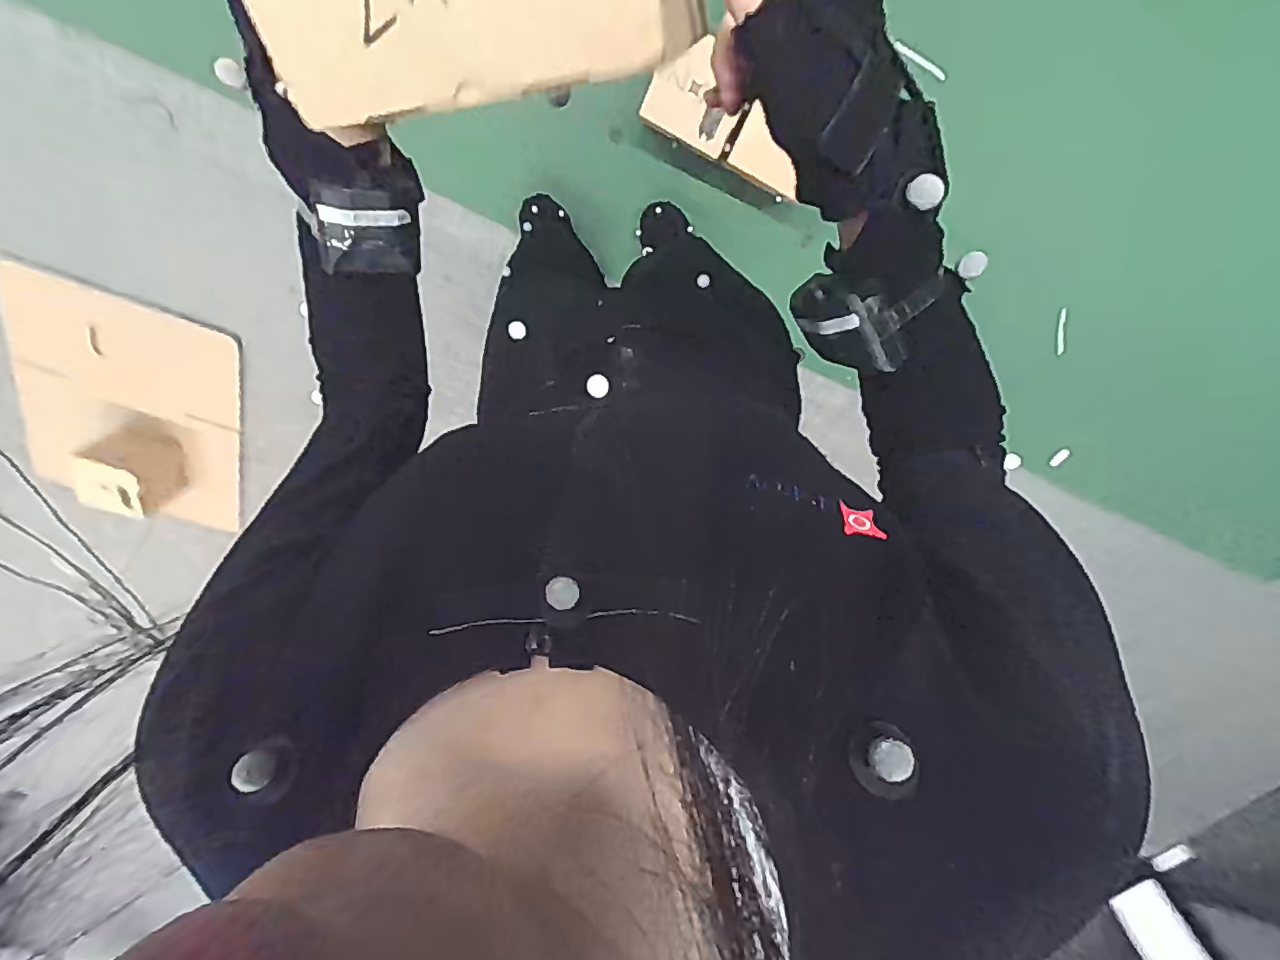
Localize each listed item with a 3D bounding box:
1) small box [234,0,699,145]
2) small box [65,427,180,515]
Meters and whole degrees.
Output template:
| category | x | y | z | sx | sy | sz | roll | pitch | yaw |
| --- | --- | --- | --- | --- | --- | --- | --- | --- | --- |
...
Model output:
| category | x | y | z | sx | sy | sz | roll | pitch | yaw |
| --- | --- | --- | --- | --- | --- | --- | --- | --- | --- |
| small box | -0.068 | -0.267 | 0.227 | 0.168 | 0.176 | 0.179 | 1 | 134 | 13 |
| small box | -1.469 | -0.031 | 1.553 | 0.179 | 0.176 | 0.168 | 18 | 119 | -7 |
